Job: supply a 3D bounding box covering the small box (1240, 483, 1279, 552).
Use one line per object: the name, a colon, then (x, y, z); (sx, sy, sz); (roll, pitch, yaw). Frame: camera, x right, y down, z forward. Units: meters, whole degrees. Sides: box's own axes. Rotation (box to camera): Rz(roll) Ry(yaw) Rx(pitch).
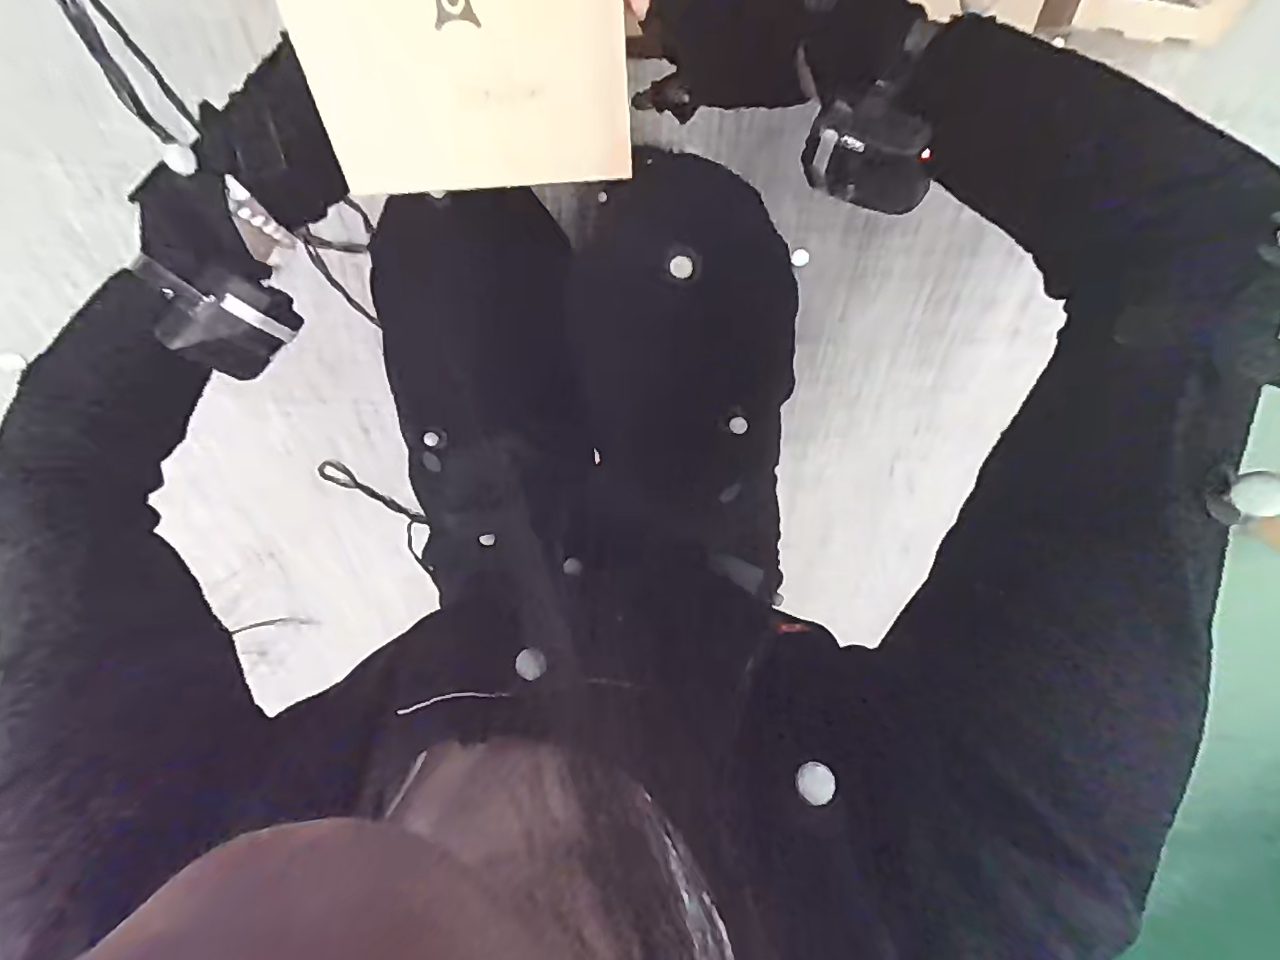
small box: (1.474, 0.083, 1.151); (0.179, 0.176, 0.168); (-4, 129, -6)
